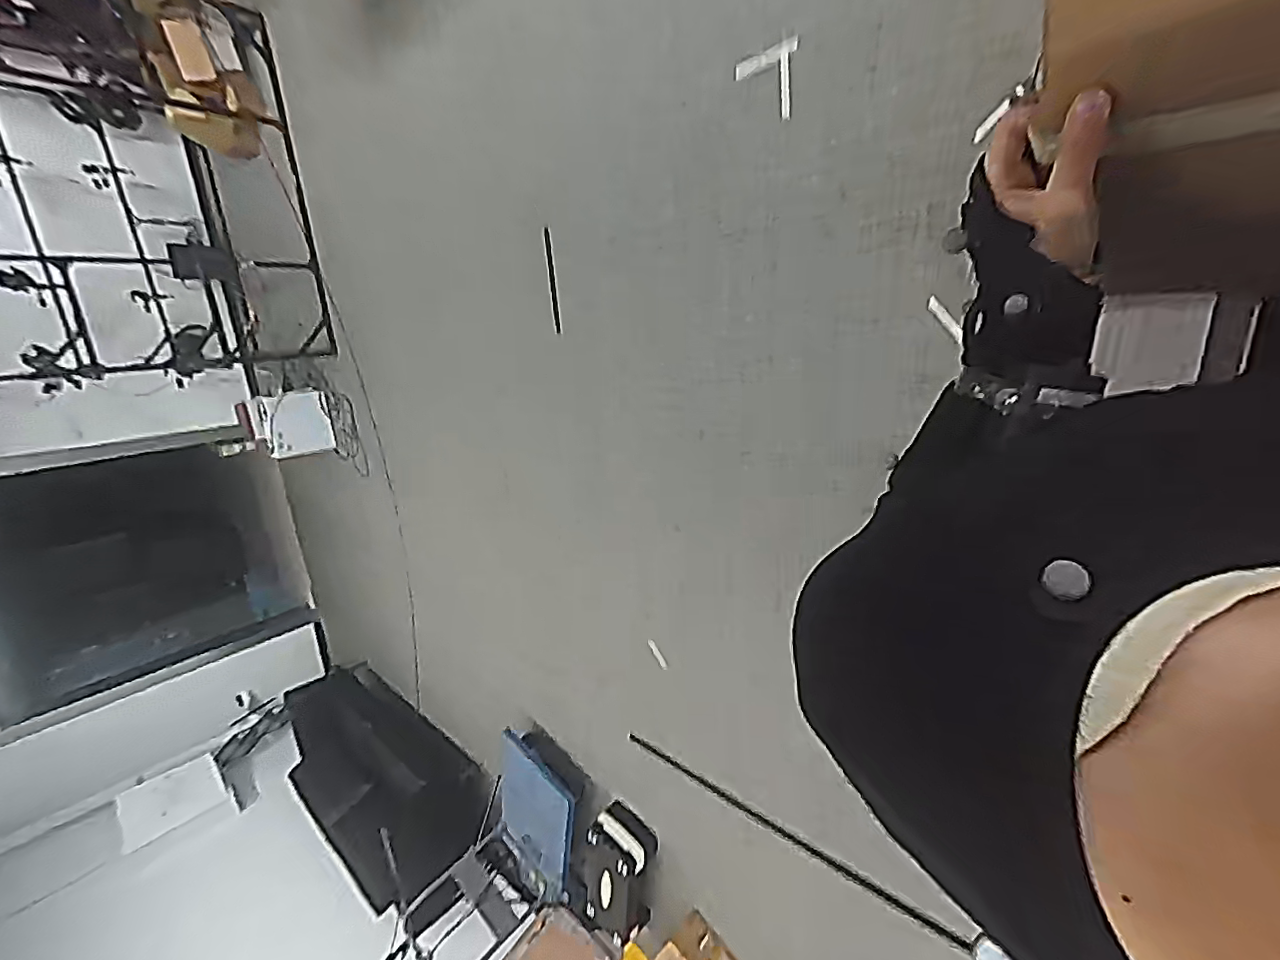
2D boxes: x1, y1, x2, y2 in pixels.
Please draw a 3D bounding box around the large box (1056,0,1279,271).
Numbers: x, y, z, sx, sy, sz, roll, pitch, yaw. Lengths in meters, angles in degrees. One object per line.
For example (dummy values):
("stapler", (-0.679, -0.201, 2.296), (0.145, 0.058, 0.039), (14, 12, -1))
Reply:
("large box", (0.416, -0.314, 0.185), (0.408, 0.320, 0.320), (11, 79, 38))
